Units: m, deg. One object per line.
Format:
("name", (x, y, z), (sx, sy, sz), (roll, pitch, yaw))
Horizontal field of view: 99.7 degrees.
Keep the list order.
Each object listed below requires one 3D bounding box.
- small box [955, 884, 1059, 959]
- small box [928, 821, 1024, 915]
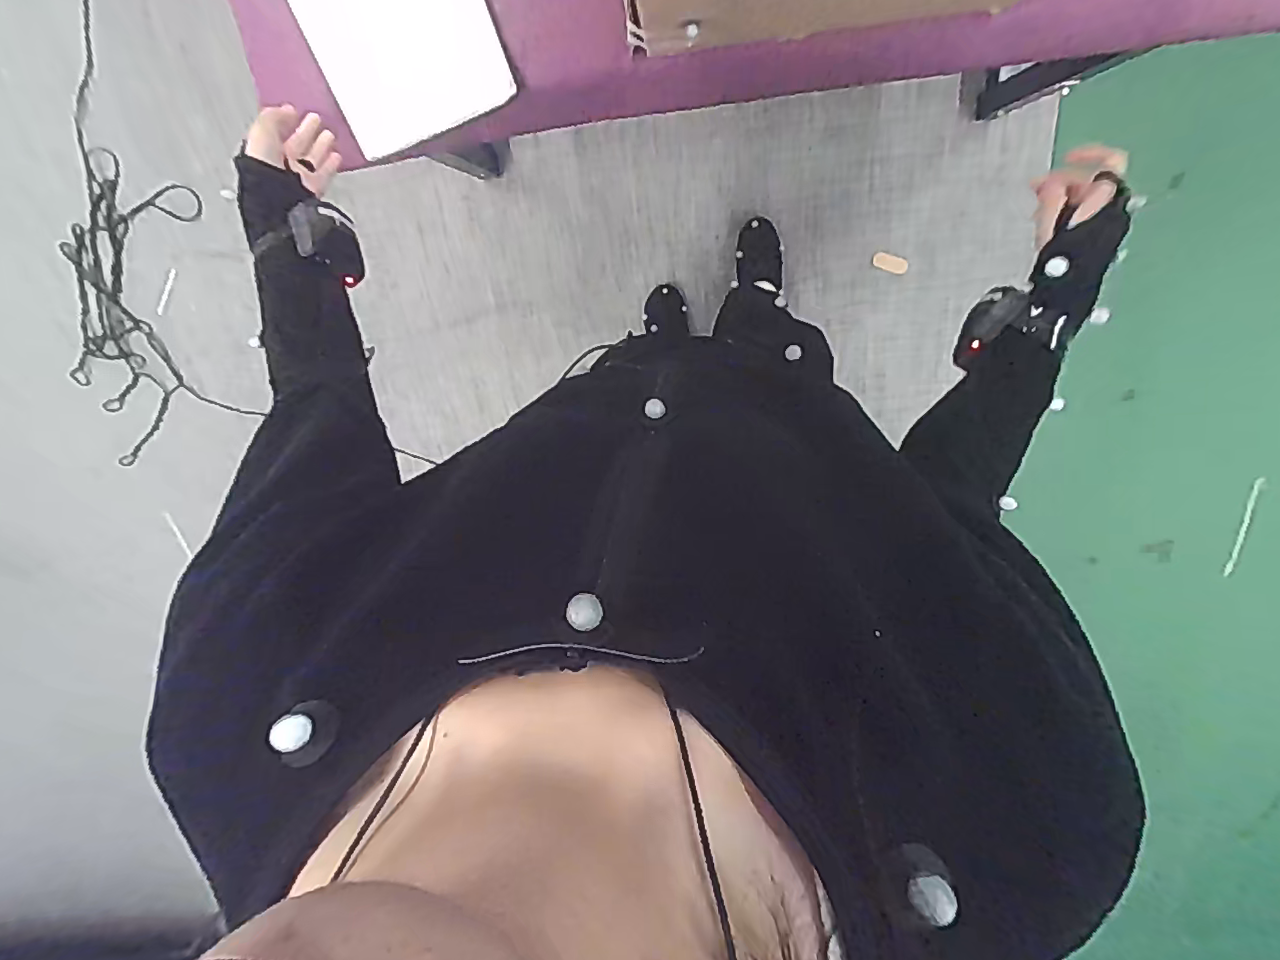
("small box", (0.929, 1.168, 1.380), (0.168, 0.176, 0.179), (-14, 109, 9))
("small box", (0.947, 1.101, 1.529), (0.179, 0.176, 0.168), (-16, 109, 10))
